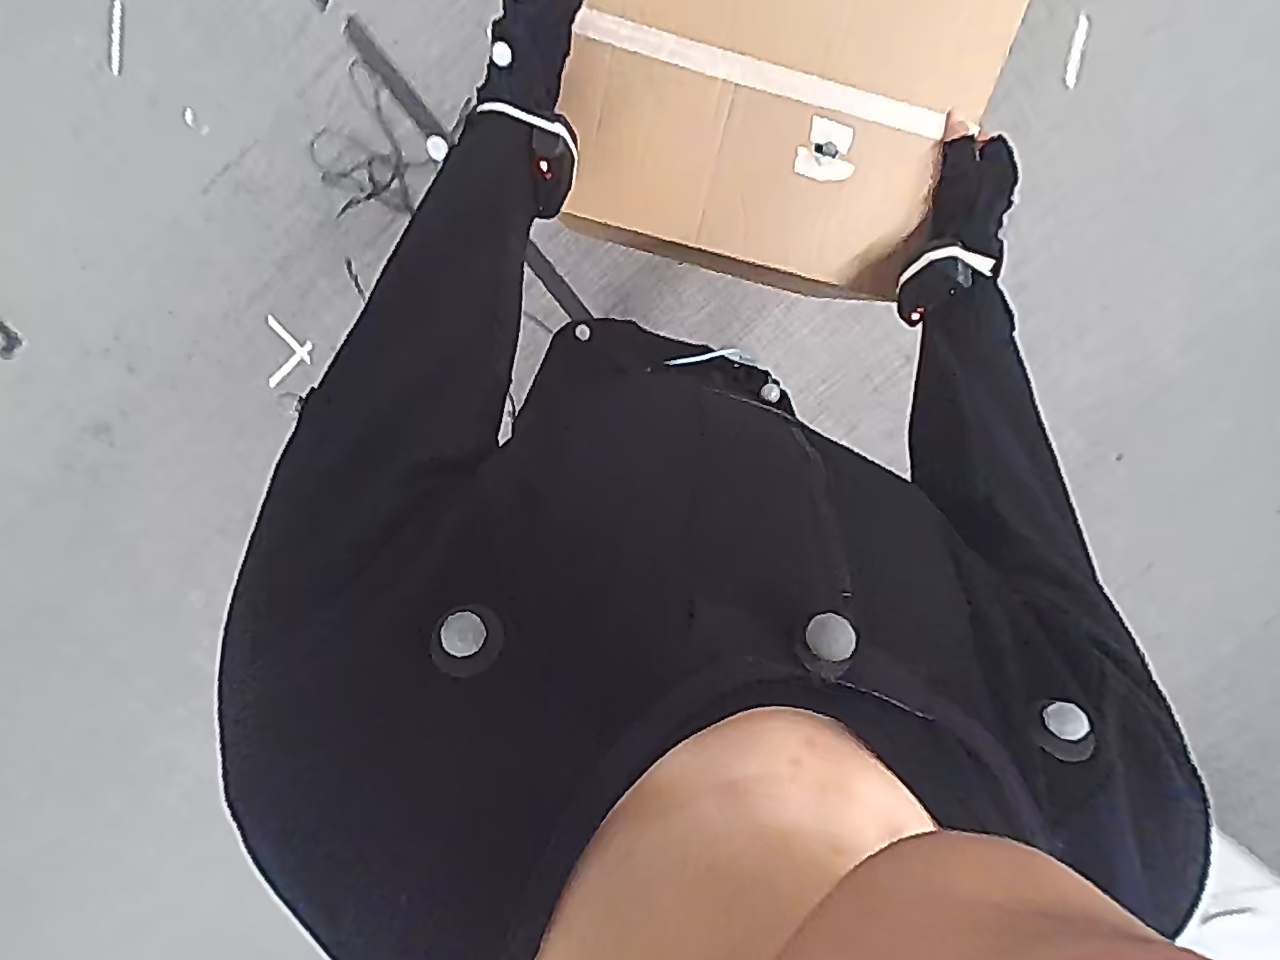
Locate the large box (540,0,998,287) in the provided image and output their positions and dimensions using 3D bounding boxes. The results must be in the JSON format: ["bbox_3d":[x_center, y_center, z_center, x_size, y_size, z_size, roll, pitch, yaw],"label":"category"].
[{"bbox_3d":[0.113,-0.437,0.662,0.408,0.320,0.320,11,111,-6],"label":"large box"}]
